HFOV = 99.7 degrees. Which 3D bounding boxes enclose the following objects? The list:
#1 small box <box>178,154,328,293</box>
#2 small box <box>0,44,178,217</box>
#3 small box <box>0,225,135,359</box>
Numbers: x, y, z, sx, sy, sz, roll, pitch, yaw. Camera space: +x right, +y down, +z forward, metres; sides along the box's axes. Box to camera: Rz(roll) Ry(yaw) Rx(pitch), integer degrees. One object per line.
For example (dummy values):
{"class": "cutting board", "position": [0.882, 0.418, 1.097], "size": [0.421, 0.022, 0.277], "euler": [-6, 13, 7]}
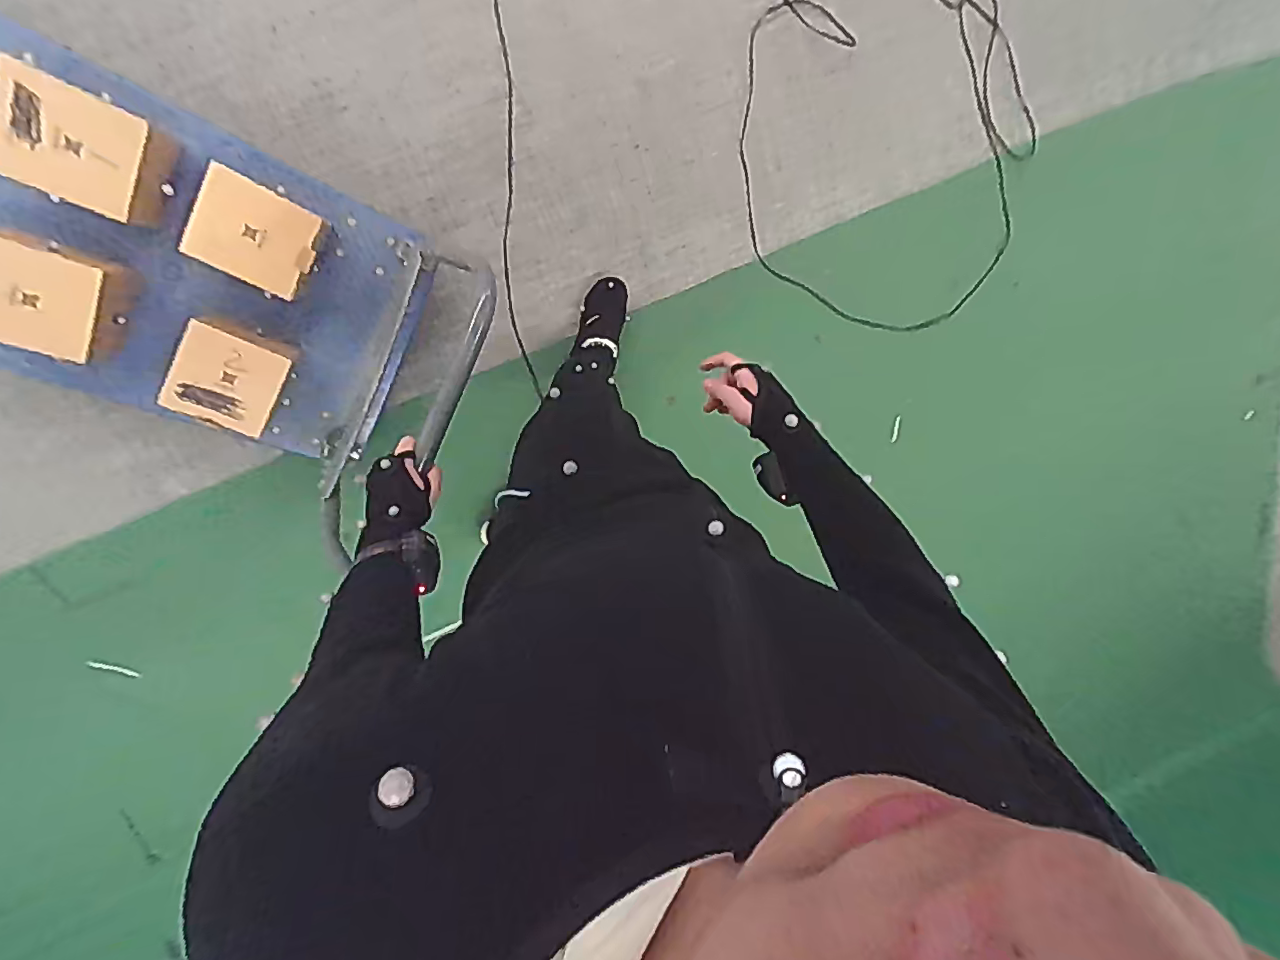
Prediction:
{"class": "small box", "position": [-0.716, -0.472, 1.021], "size": [0.179, 0.176, 0.168], "euler": [23, 100, -32]}
{"class": "small box", "position": [-0.913, -0.554, 0.892], "size": [0.179, 0.176, 0.168], "euler": [18, 102, -31]}
{"class": "small box", "position": [-1.022, -0.327, 0.933], "size": [0.179, 0.176, 0.168], "euler": [16, 102, -30]}
